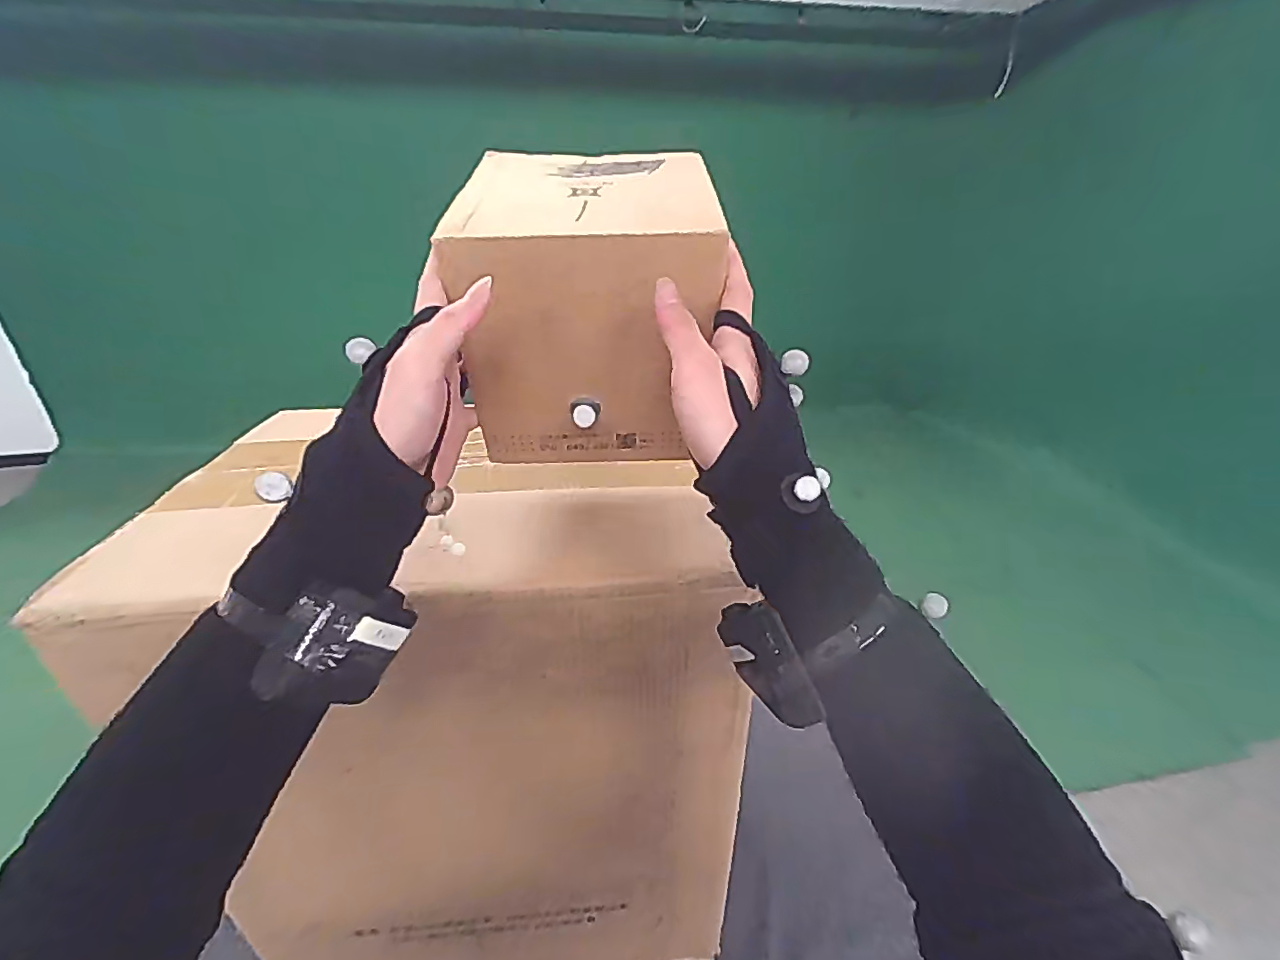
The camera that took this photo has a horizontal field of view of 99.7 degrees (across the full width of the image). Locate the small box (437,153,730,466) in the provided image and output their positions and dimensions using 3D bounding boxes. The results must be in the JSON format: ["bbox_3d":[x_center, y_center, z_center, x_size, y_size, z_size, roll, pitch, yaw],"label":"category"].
[{"bbox_3d":[-0.032,-0.131,0.411,0.168,0.176,0.179,0,45,0],"label":"small box"}]
